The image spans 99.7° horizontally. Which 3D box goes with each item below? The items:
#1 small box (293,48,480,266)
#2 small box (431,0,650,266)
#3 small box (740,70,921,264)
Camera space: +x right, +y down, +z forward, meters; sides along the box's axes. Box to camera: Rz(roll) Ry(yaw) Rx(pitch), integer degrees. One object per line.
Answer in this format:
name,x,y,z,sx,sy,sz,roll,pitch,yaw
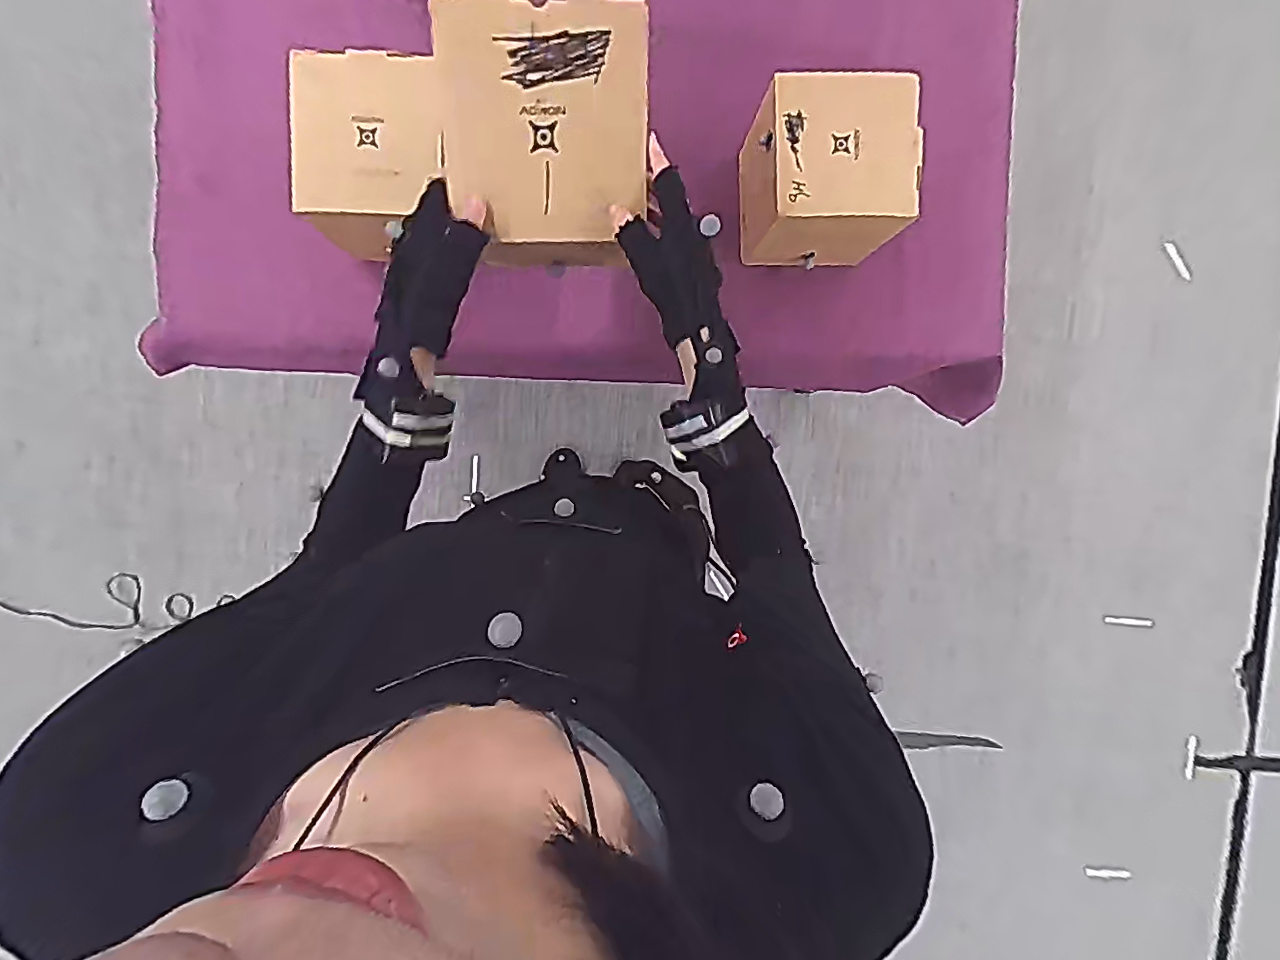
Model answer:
small box,-0.302,-0.387,0.677,0.168,0.176,0.179,0,93,-3
small box,-0.078,-0.301,0.502,0.168,0.176,0.179,-2,106,-2
small box,0.239,-0.396,0.714,0.179,0.176,0.168,-2,92,-4
